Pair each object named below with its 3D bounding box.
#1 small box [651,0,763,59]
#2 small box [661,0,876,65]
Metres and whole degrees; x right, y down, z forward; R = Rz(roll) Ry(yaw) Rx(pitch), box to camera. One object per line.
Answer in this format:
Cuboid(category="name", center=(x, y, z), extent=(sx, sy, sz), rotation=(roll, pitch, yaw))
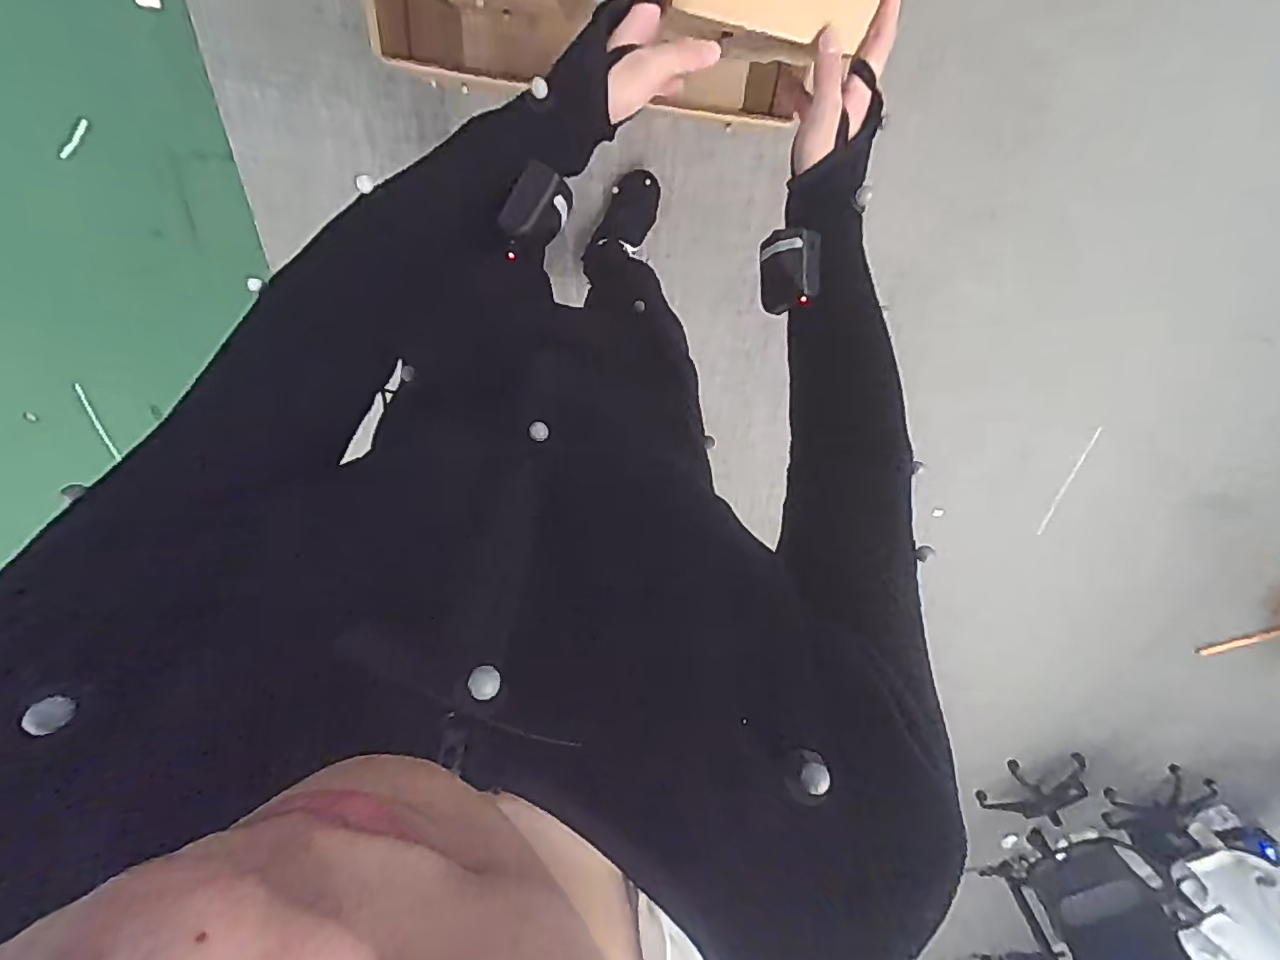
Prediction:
Cuboid(category="small box", center=(0.107, -0.605, 0.615), extent=(0.168, 0.176, 0.179), rotation=(7, 123, -7))
Cuboid(category="small box", center=(0.114, -0.477, 0.457), extent=(0.168, 0.176, 0.179), rotation=(7, 124, -8))
